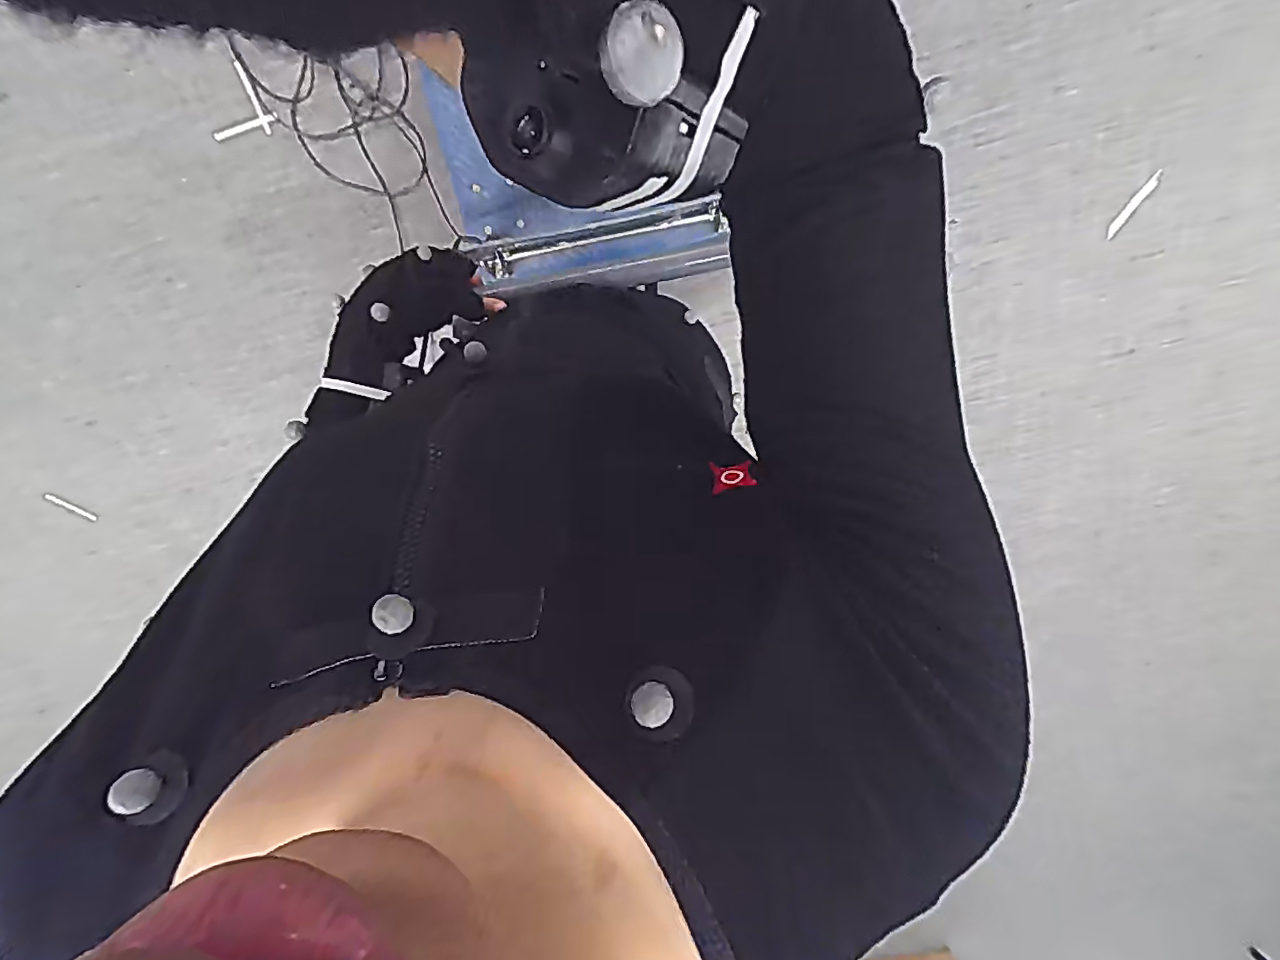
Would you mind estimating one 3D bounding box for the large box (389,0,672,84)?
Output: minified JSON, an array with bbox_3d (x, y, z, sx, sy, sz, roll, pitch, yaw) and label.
[{"bbox_3d":[-0.173,-0.858,0.825,0.408,0.320,0.320,-9,114,3],"label":"large box"}]
